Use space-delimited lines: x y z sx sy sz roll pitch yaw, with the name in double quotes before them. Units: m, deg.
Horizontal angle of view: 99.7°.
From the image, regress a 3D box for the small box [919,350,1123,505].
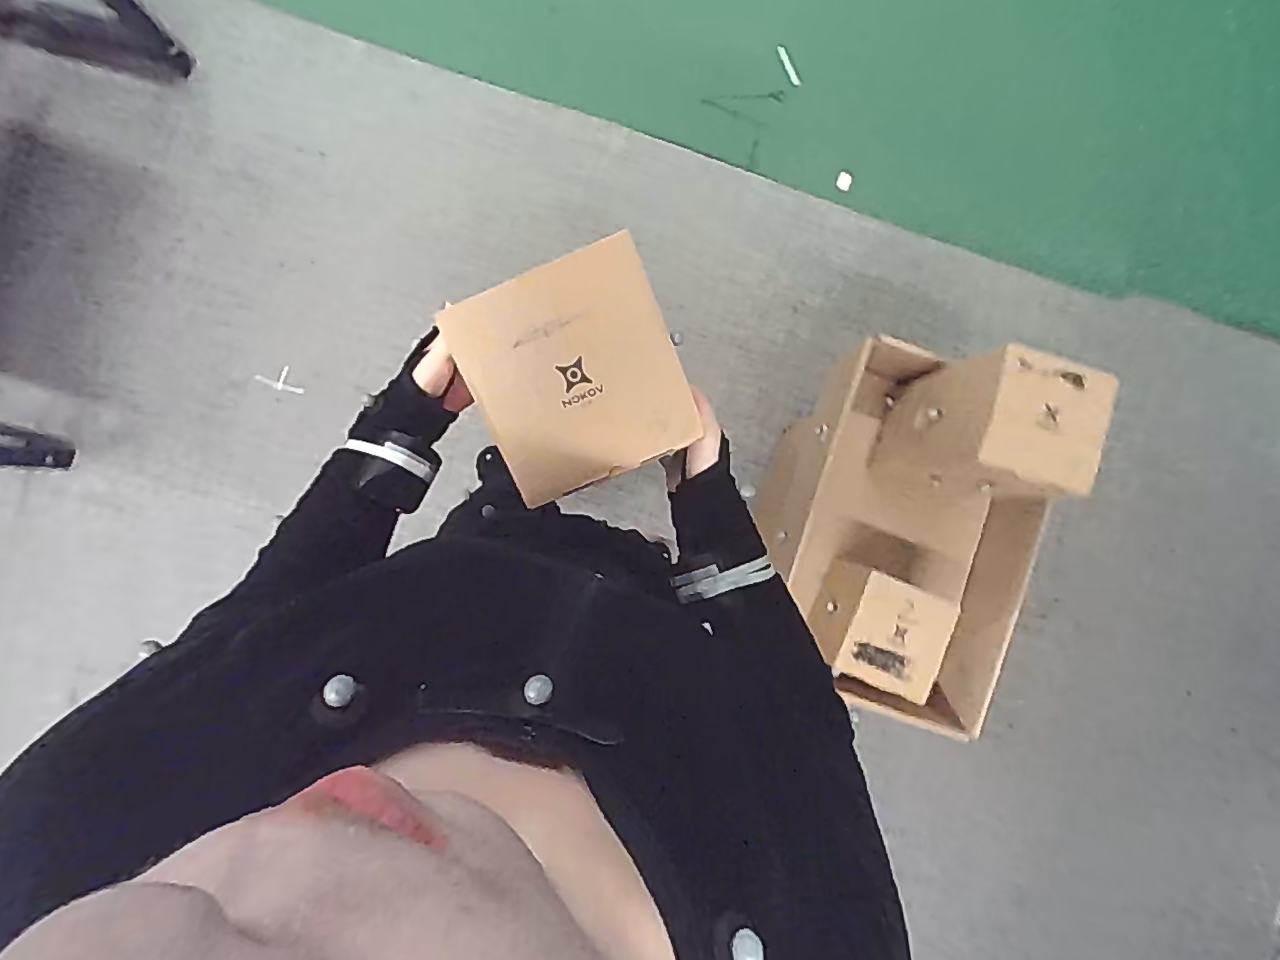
"small box" 0.556 -0.069 0.817 0.168 0.176 0.179 18 88 -2
